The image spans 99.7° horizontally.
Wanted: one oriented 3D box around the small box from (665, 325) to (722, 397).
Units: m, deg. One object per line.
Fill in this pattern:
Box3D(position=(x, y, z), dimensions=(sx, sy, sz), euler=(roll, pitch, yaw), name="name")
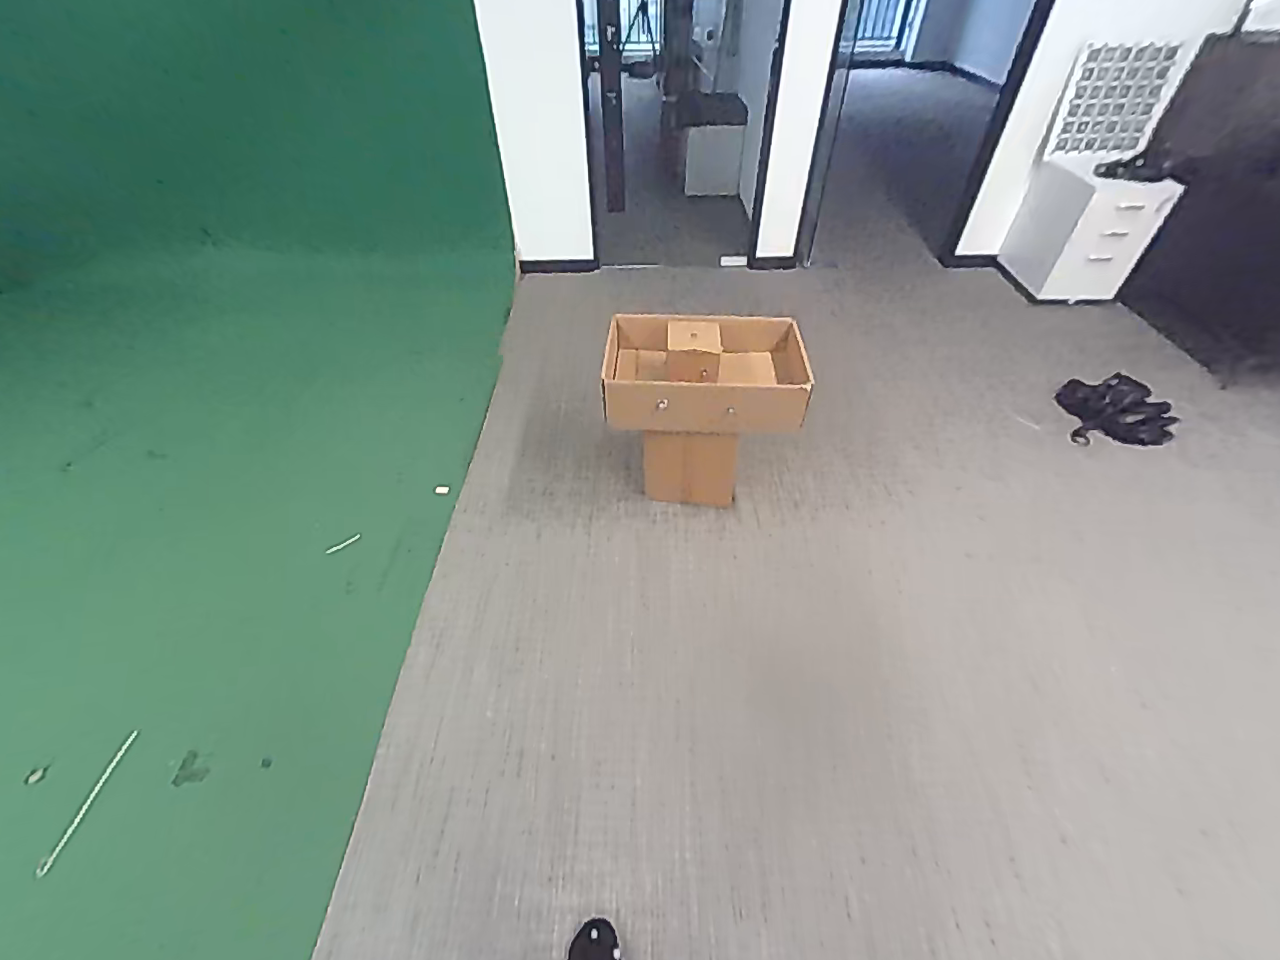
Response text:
Box3D(position=(0.170, -0.382, 1.743), dimensions=(0.168, 0.176, 0.179), euler=(3, 43, 0), name="small box")
